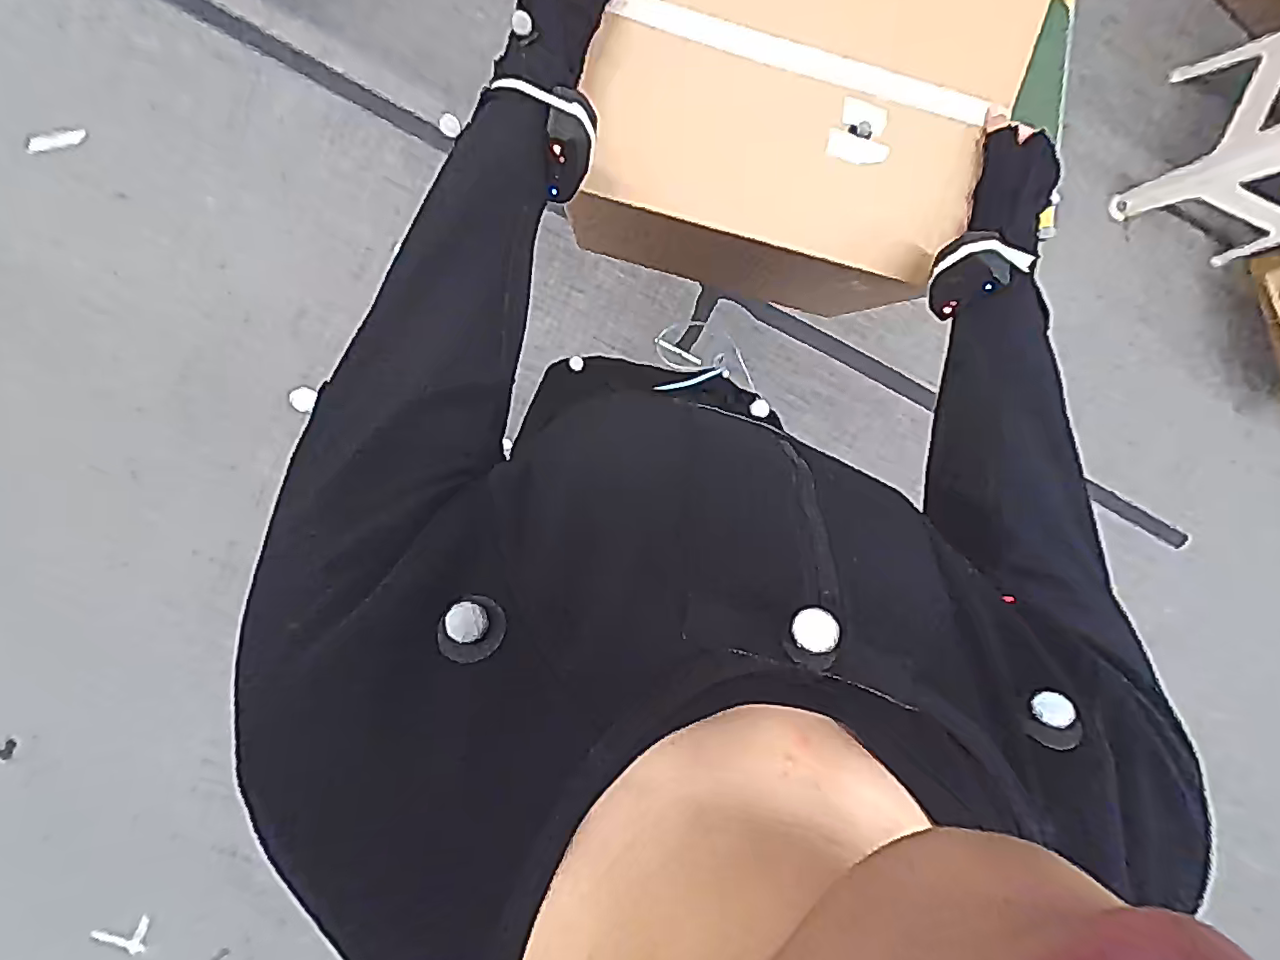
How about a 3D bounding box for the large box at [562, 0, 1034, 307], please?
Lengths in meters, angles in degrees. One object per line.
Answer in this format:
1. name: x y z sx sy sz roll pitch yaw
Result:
1. large box: 0.141 -0.421 0.650 0.408 0.320 0.320 13 103 -6
